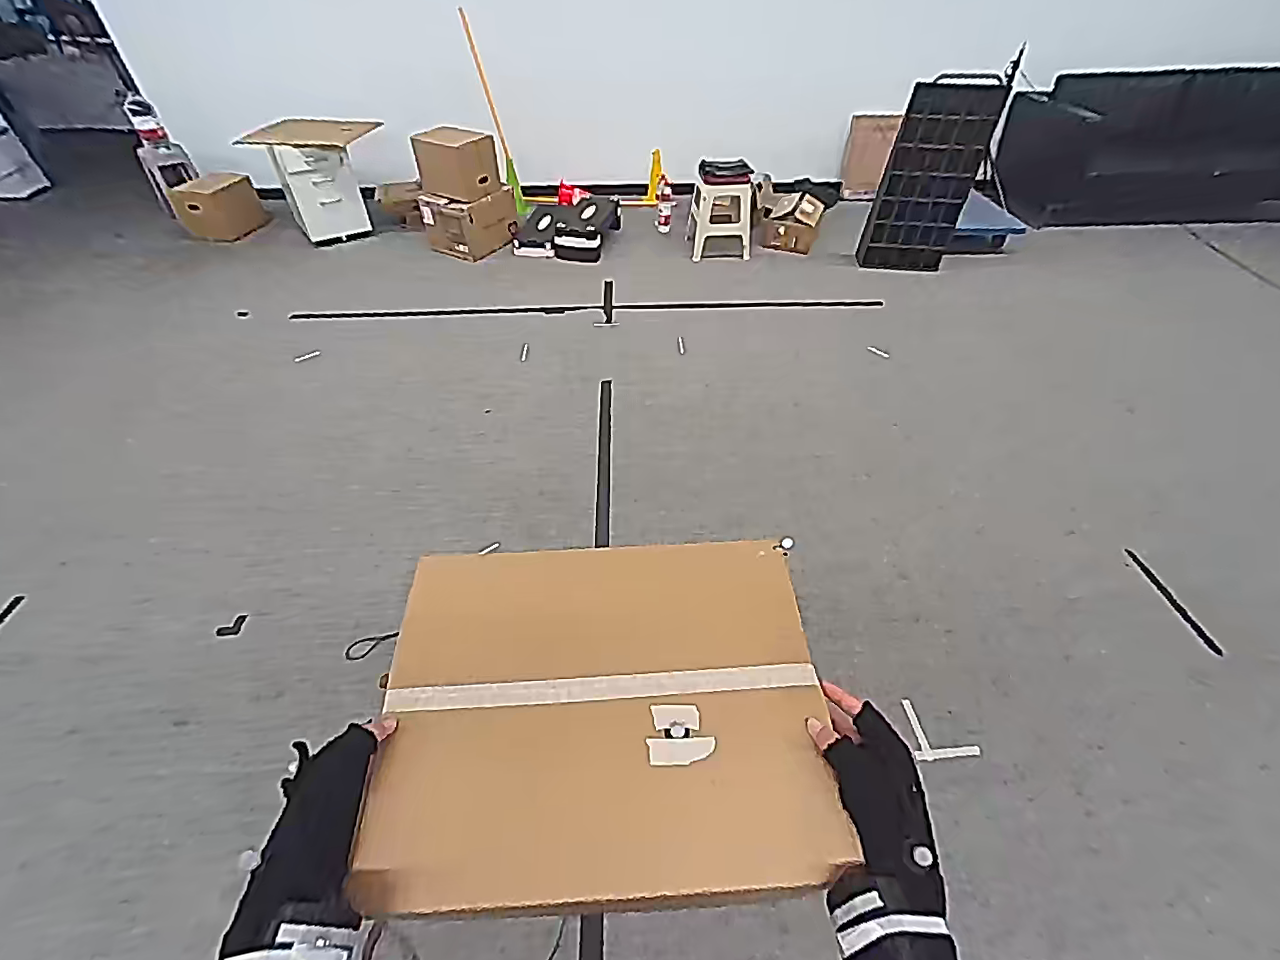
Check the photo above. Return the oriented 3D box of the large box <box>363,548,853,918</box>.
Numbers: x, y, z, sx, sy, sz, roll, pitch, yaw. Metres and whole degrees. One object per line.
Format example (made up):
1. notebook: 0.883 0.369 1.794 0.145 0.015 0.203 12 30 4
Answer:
1. large box: -0.032 0.301 0.639 0.408 0.320 0.320 -2 51 -2
